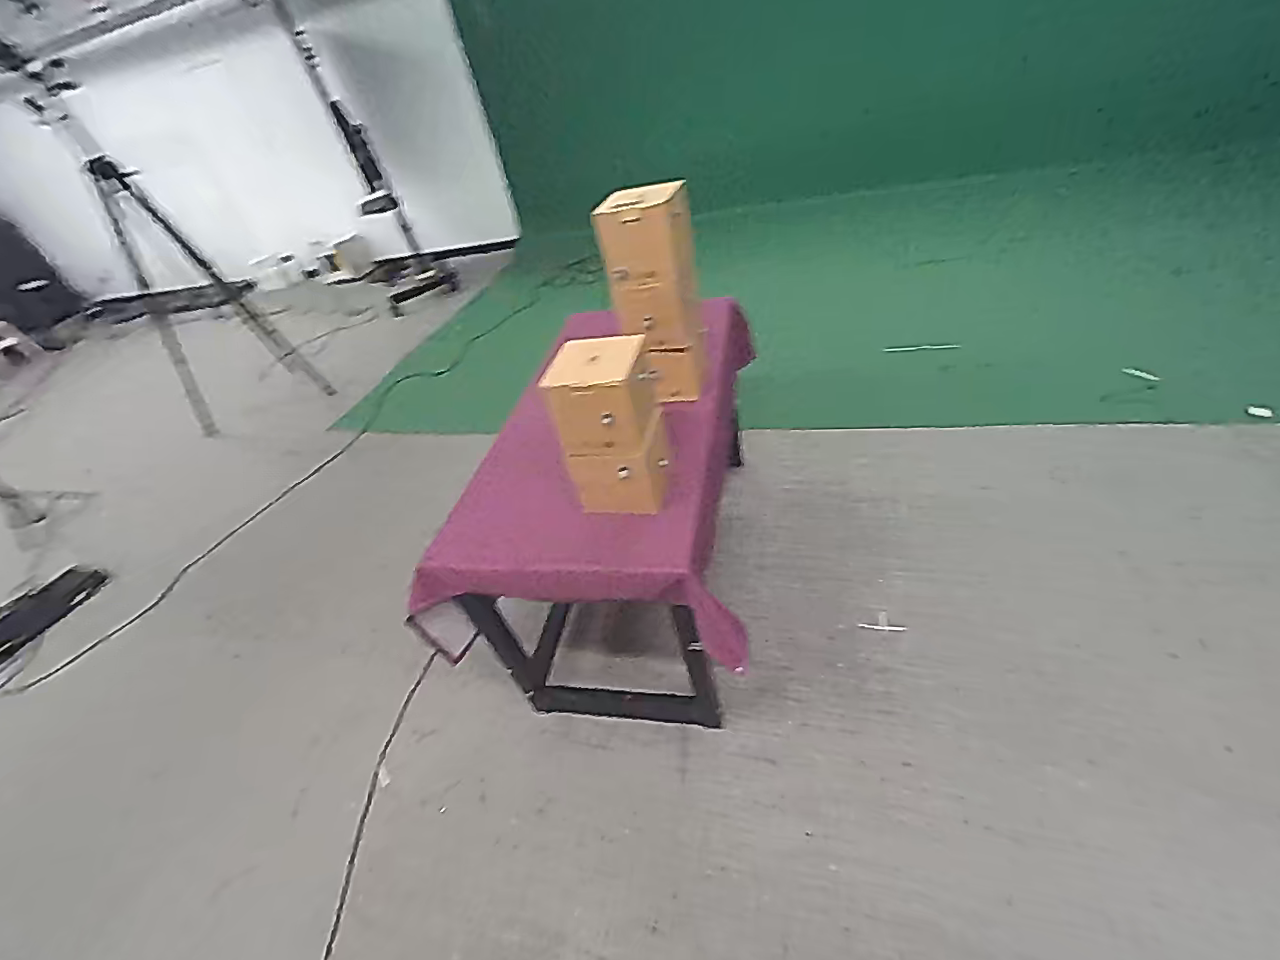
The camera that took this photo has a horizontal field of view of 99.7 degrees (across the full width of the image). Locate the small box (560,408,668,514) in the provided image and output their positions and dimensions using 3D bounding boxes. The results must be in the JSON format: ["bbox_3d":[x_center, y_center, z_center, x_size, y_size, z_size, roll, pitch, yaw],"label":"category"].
[{"bbox_3d":[-0.046,-0.040,1.177,0.179,0.176,0.168,0,42,18],"label":"small box"}]

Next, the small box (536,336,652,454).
[{"bbox_3d":[-0.080,-0.164,1.077,0.168,0.176,0.179,0,42,16],"label":"small box"}]

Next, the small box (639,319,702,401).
[{"bbox_3d":[0.070,-0.327,1.472,0.168,0.176,0.179,-1,42,17],"label":"small box"}]

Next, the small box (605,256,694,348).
[{"bbox_3d":[0.033,-0.444,1.362,0.168,0.176,0.179,2,43,20],"label":"small box"}]

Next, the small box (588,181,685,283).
[{"bbox_3d":[0.001,-0.572,1.263,0.168,0.176,0.179,1,42,20],"label":"small box"}]
